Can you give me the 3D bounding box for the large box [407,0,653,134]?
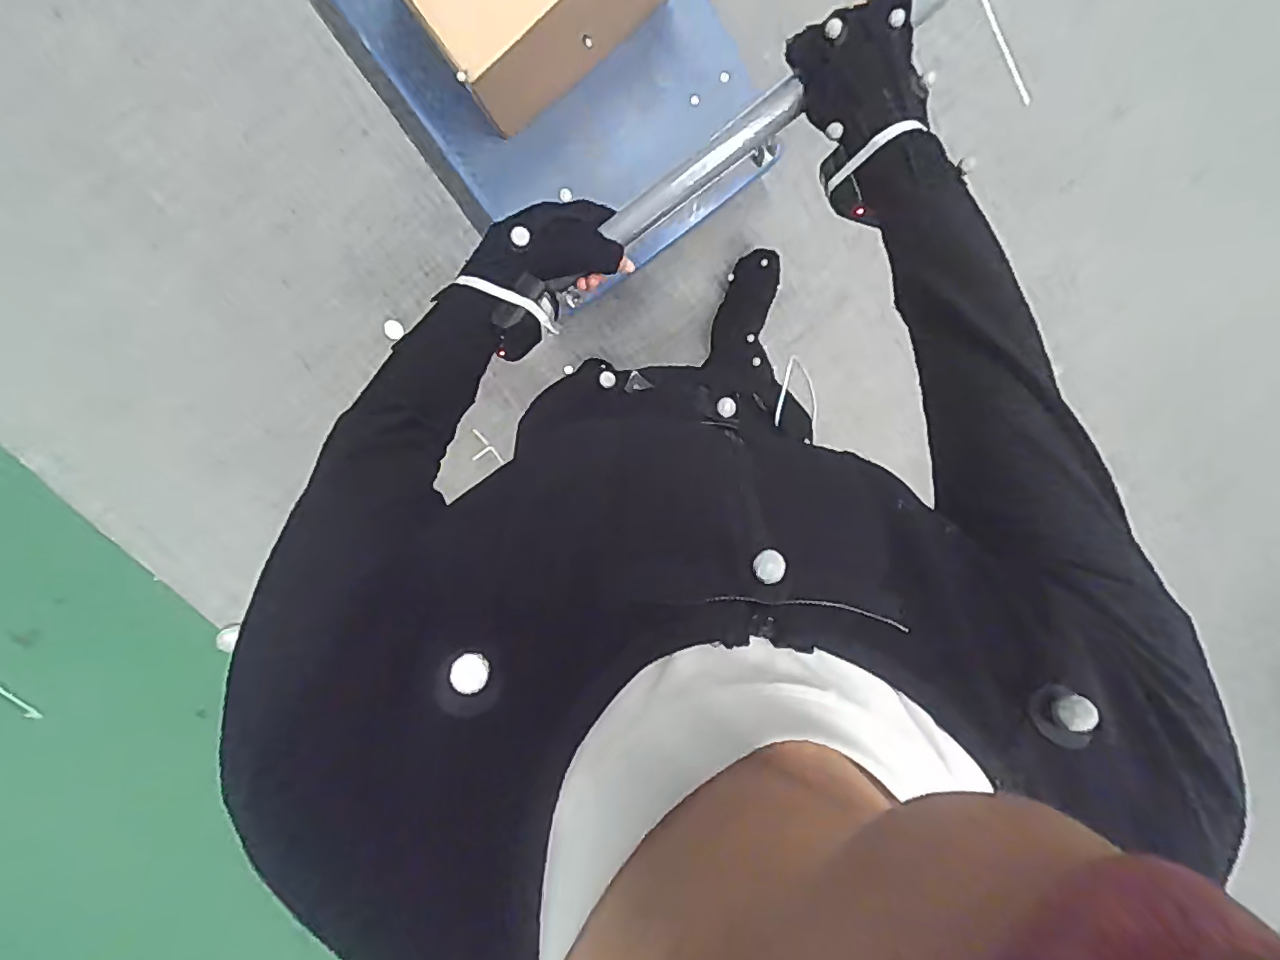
[{"bbox_3d":[-0.185,-0.858,0.854,0.408,0.320,0.320,-37,107,10],"label":"large box"}]
